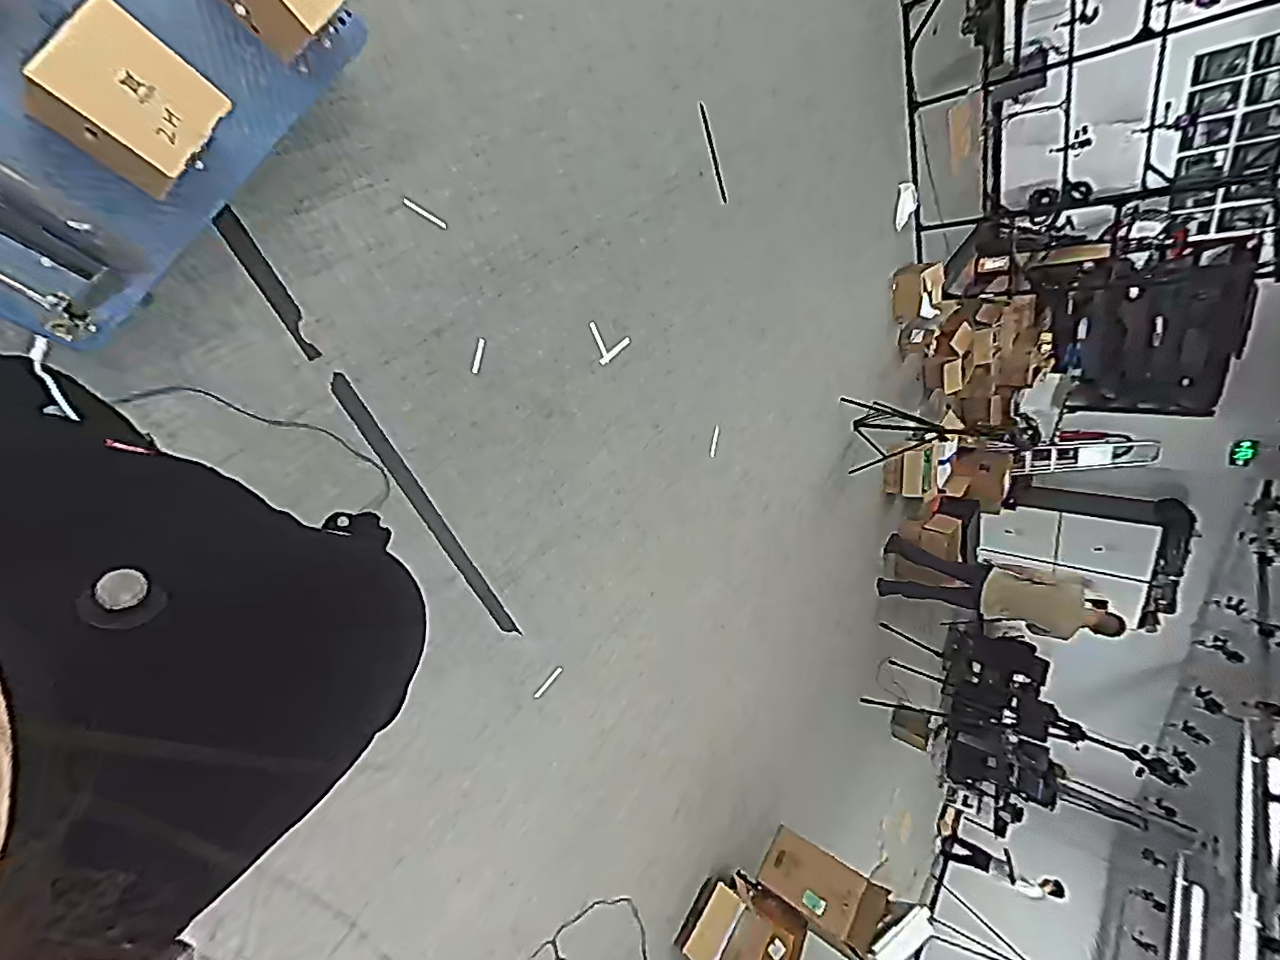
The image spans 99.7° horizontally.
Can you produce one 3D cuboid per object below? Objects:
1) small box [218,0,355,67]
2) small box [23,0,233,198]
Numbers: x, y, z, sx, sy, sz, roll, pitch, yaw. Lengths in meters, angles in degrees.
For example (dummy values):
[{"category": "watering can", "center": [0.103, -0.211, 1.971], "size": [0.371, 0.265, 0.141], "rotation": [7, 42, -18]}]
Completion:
[{"category": "small box", "center": [-0.634, -0.893, 0.962], "size": [0.168, 0.176, 0.179], "rotation": [44, 67, -44]}, {"category": "small box", "center": [-0.797, -0.580, 0.848], "size": [0.179, 0.176, 0.168], "rotation": [39, 70, -45]}]
